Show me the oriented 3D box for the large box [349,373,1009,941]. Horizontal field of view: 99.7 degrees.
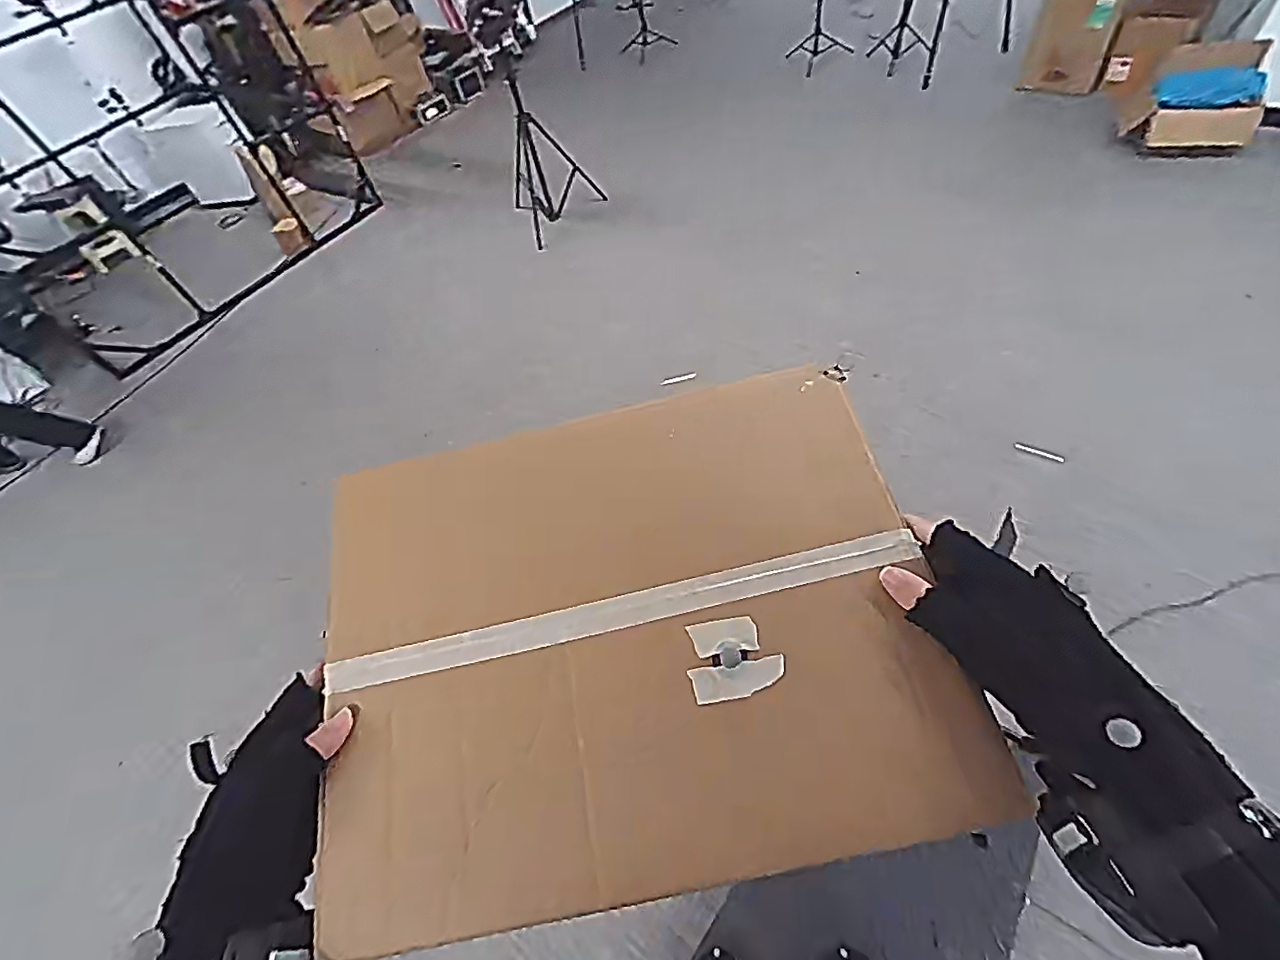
[{"bbox_3d":[0.008,0.154,0.510,0.408,0.320,0.320,-13,65,1],"label":"large box"}]
